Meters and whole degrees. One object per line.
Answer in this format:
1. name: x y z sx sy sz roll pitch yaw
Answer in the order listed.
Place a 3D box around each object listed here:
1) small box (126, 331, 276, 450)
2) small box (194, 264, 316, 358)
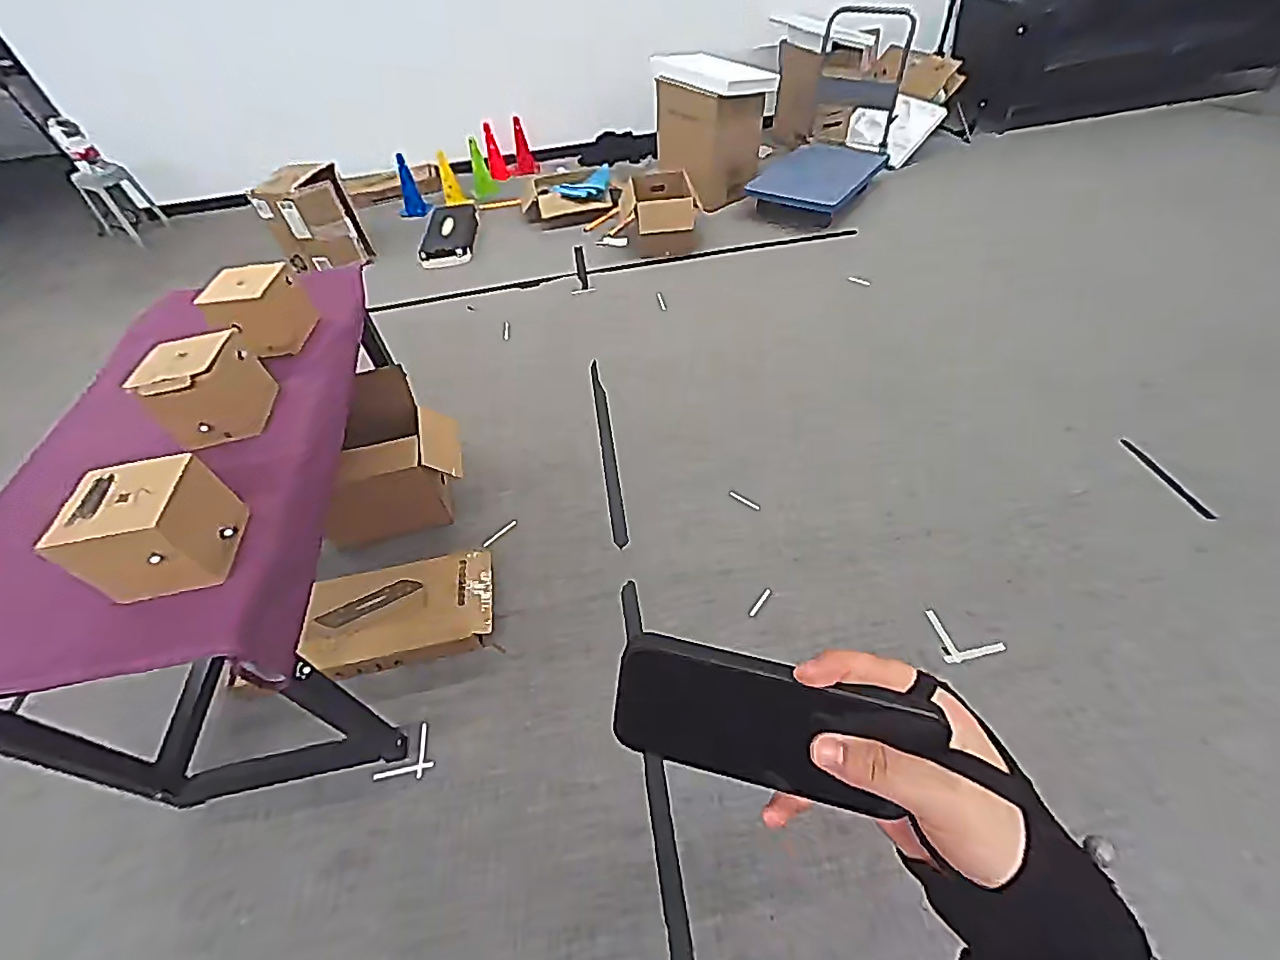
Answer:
1. small box: -0.935 -0.193 1.176 0.168 0.176 0.179 -13 49 -2
2. small box: -0.974 -0.427 1.389 0.168 0.176 0.179 -6 48 1
